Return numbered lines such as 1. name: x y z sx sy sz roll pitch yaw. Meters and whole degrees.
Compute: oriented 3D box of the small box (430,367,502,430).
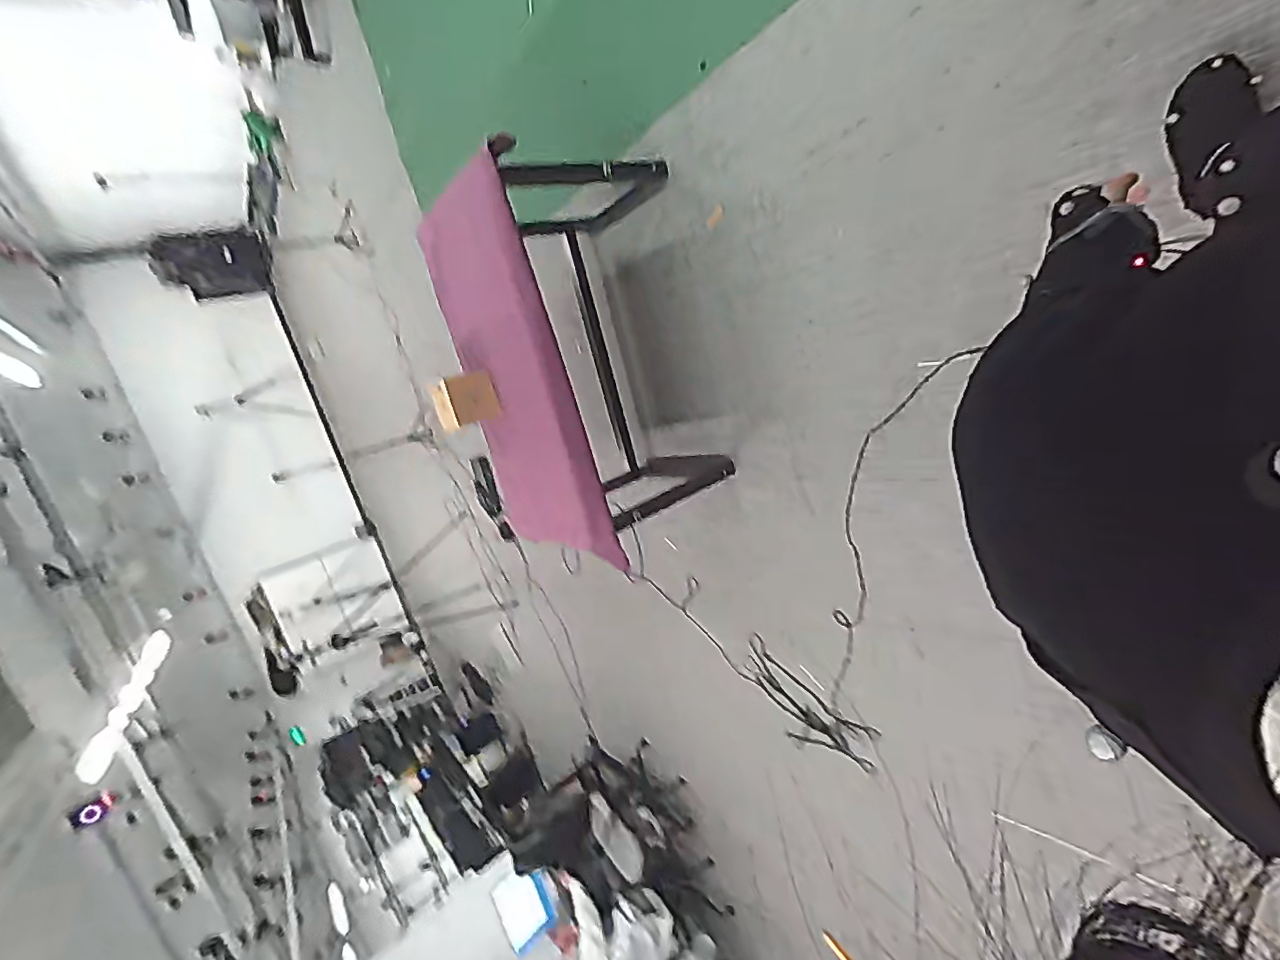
1. small box: -0.619 -0.291 1.939 0.168 0.176 0.179 -1 110 51
